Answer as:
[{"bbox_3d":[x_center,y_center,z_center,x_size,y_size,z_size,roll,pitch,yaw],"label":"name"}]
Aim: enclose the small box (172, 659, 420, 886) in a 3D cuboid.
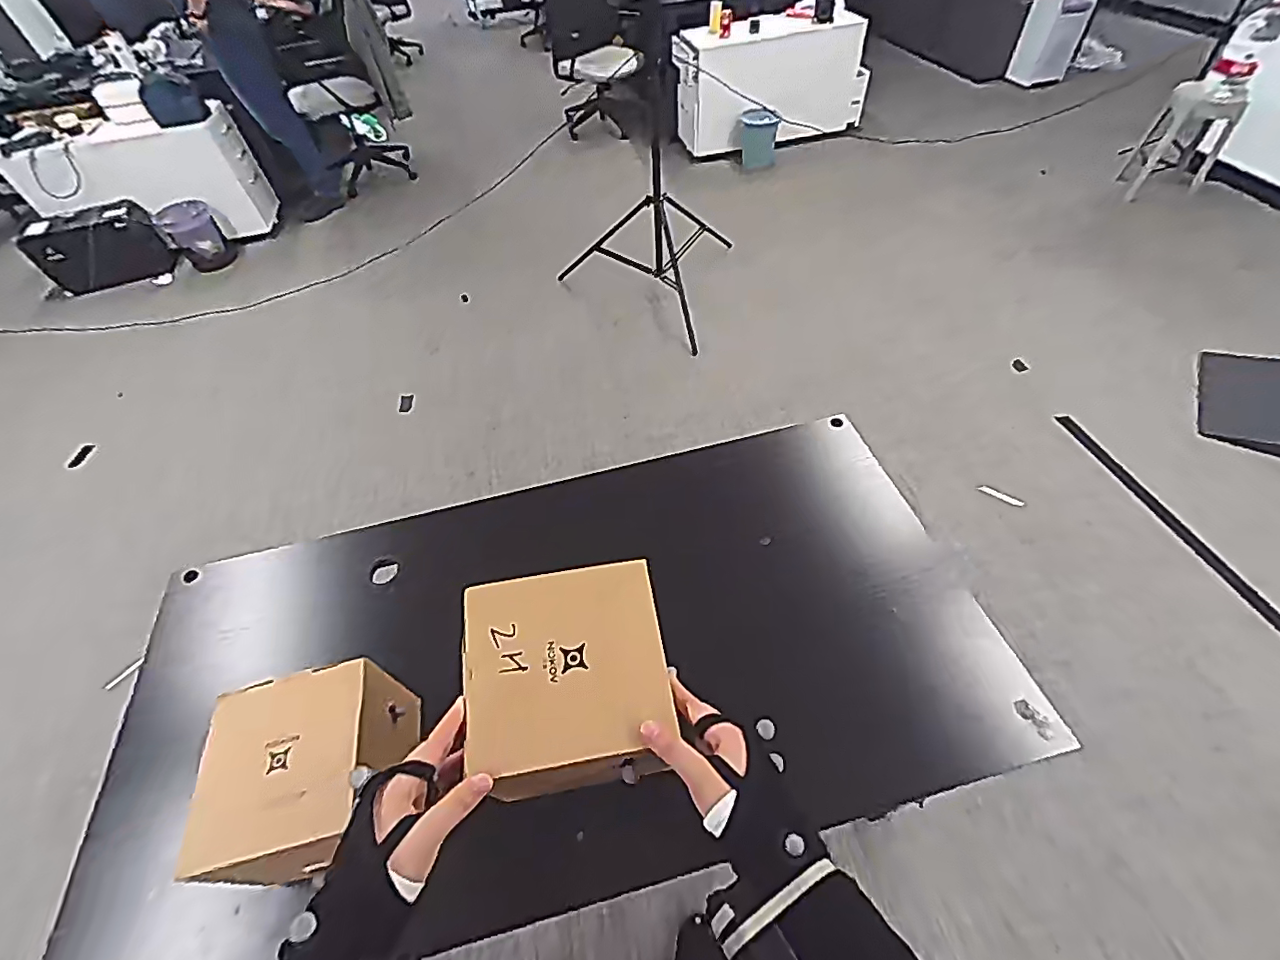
[{"bbox_3d":[-0.364,0.334,0.615,0.168,0.176,0.179,-14,52,-5],"label":"small box"}]
